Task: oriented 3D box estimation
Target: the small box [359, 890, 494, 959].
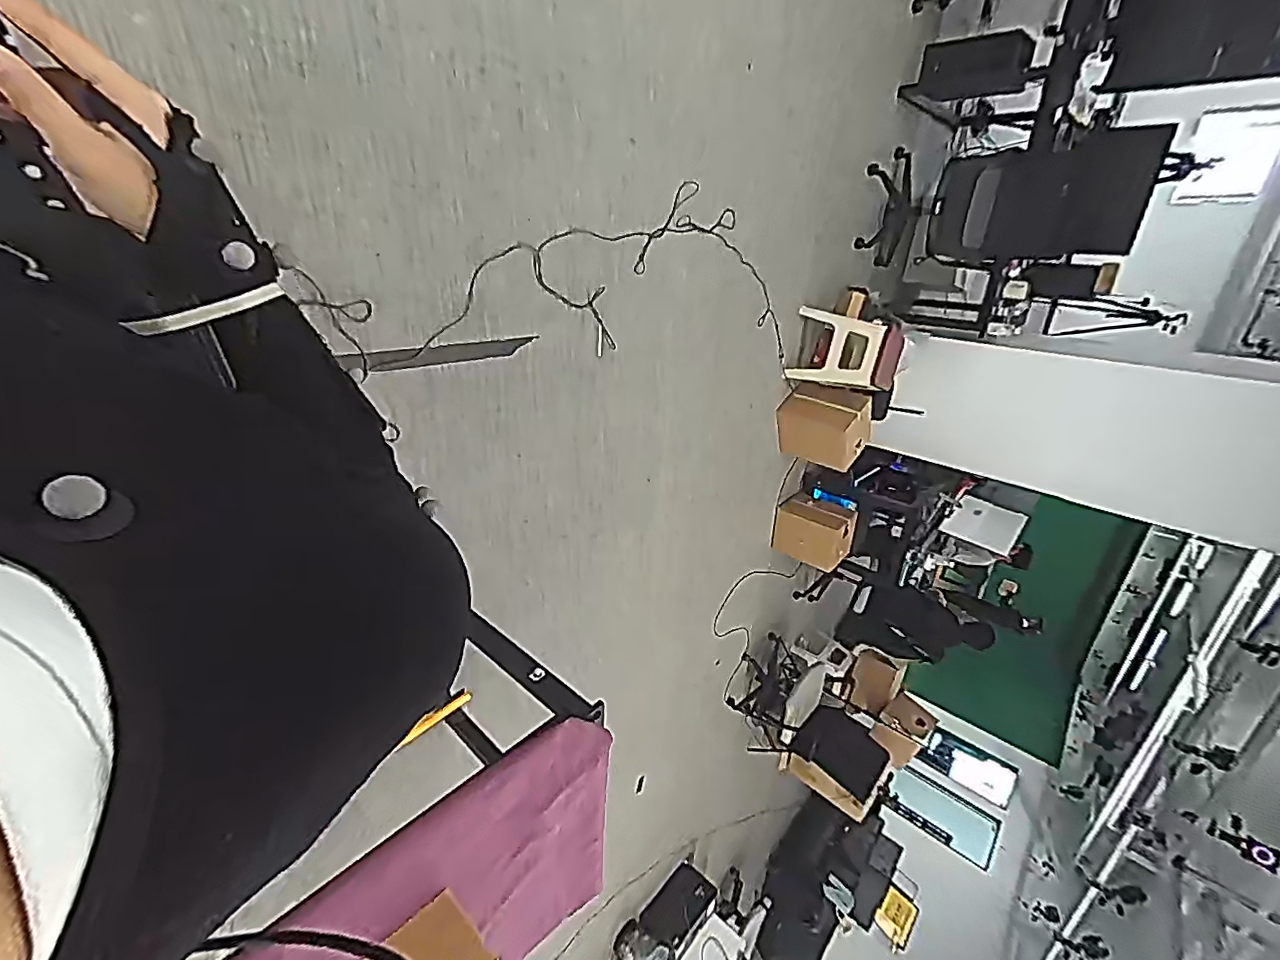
[{"bbox_3d":[-0.372,0.880,0.940,0.179,0.176,0.168,-22,124,-44],"label":"small box"}]
